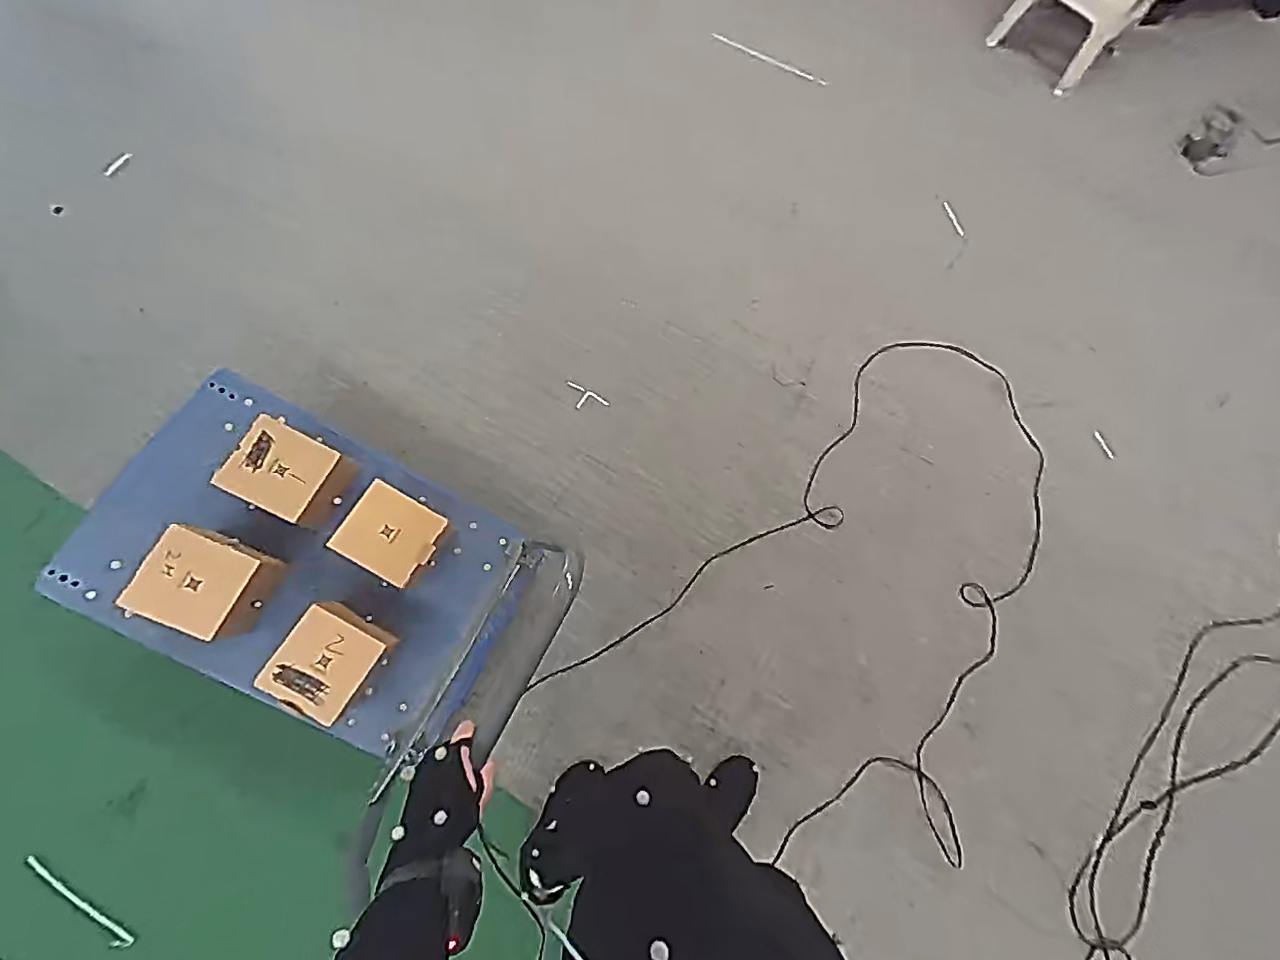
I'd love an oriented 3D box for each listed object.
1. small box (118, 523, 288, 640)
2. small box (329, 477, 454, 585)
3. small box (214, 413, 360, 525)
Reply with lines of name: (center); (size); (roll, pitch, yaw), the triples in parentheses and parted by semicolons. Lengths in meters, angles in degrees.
small box: (-0.856, 0.203, 1.086); (0.179, 0.176, 0.168); (27, 73, -8)
small box: (-0.531, 0.120, 1.186); (0.179, 0.176, 0.168); (33, 73, -7)
small box: (-0.740, -0.013, 1.157); (0.179, 0.176, 0.168); (29, 74, -8)
